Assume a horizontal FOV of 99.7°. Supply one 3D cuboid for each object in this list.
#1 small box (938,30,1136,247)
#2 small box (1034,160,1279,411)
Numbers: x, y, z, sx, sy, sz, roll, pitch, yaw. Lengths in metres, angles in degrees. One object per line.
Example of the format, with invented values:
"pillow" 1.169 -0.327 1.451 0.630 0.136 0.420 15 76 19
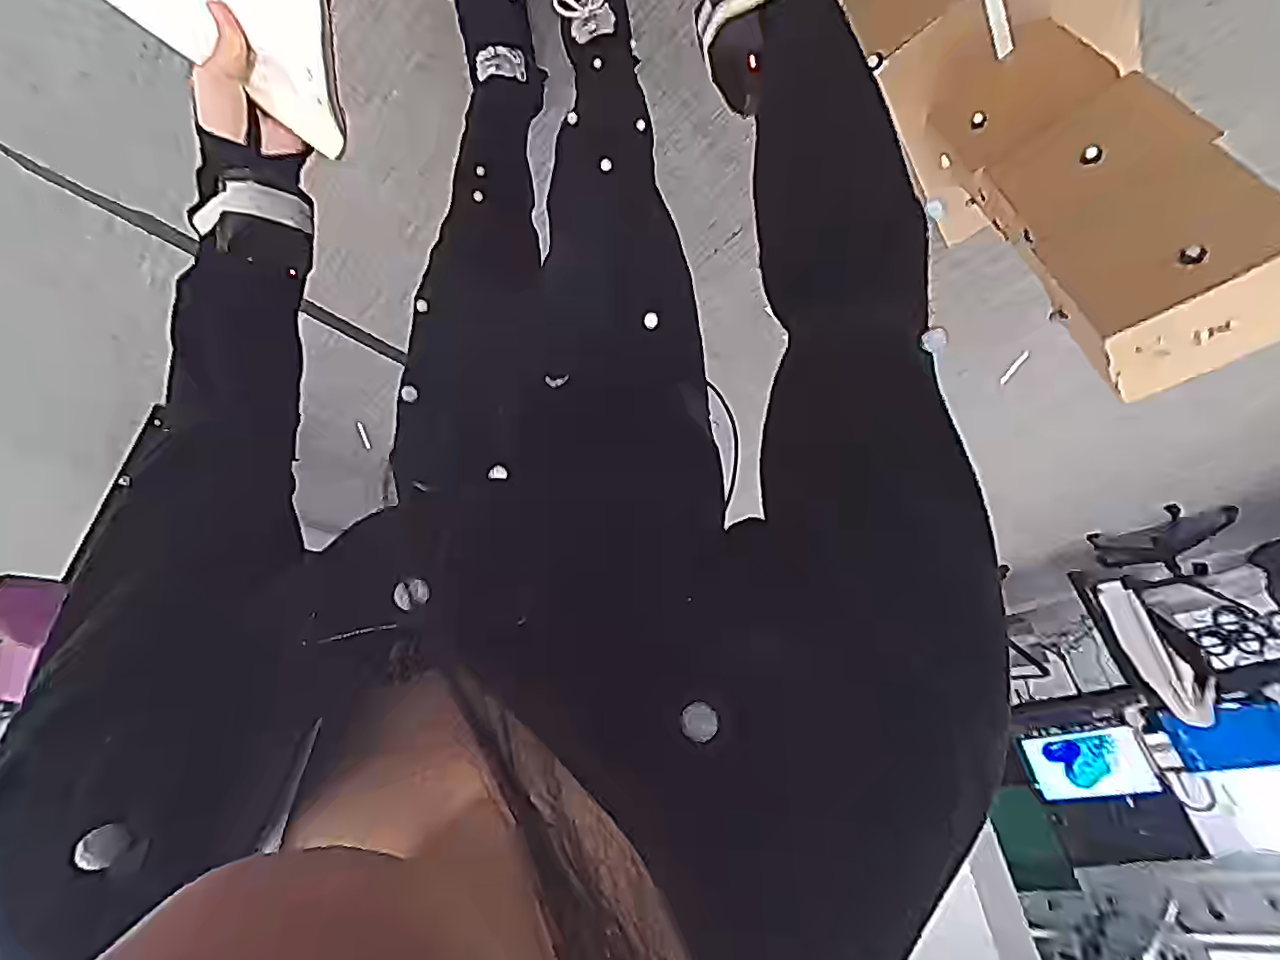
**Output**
"small box" 0.572 -0.497 0.799 0.168 0.176 0.179 24 136 -38
"small box" 0.606 -0.218 0.626 0.179 0.176 0.168 -30 139 33
